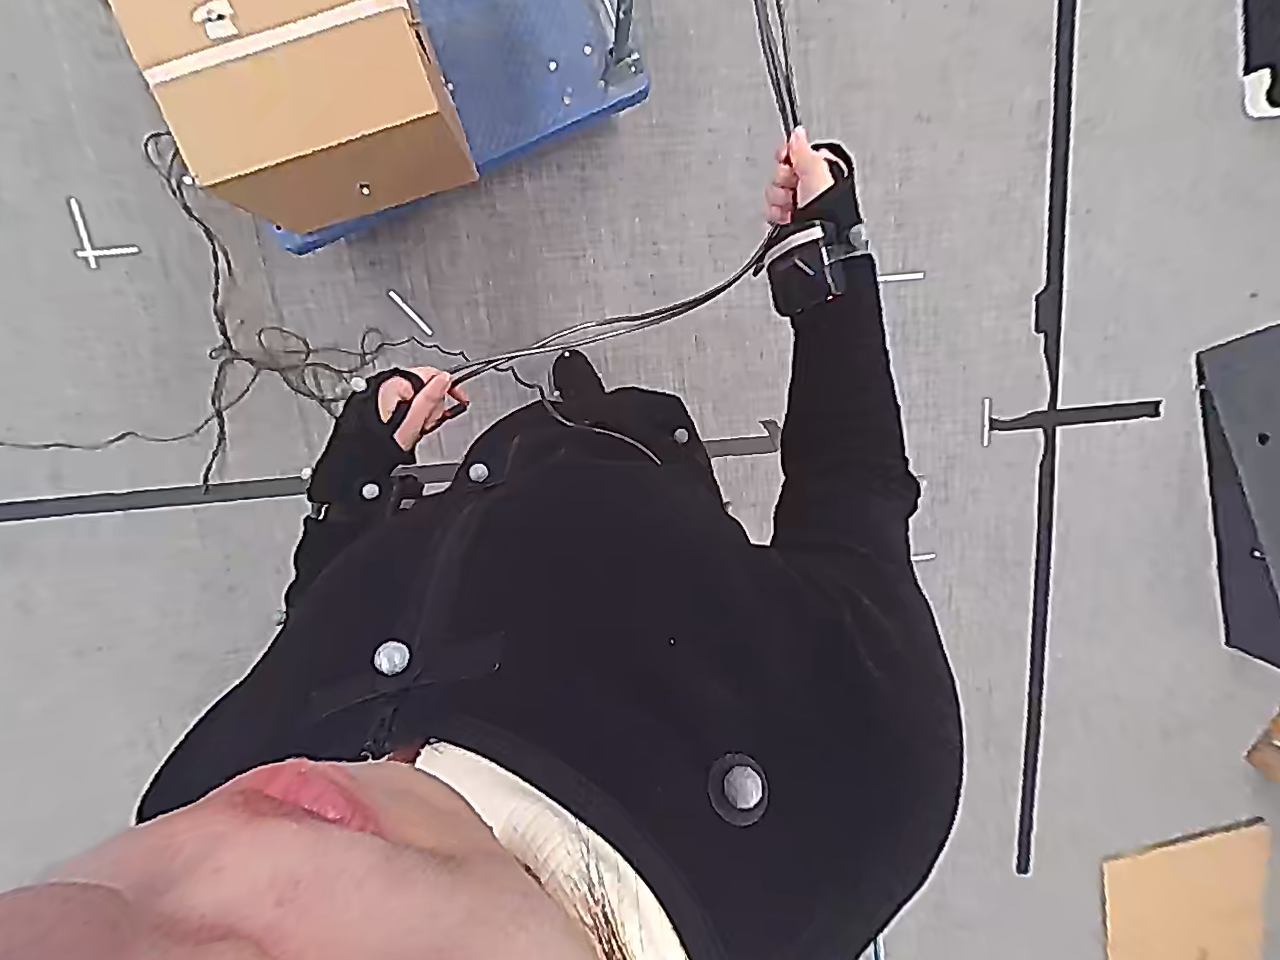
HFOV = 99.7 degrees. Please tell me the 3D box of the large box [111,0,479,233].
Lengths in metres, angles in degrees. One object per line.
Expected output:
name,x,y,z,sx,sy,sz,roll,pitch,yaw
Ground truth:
large box,-0.559,-0.689,0.962,0.408,0.320,0.320,-19,102,0
